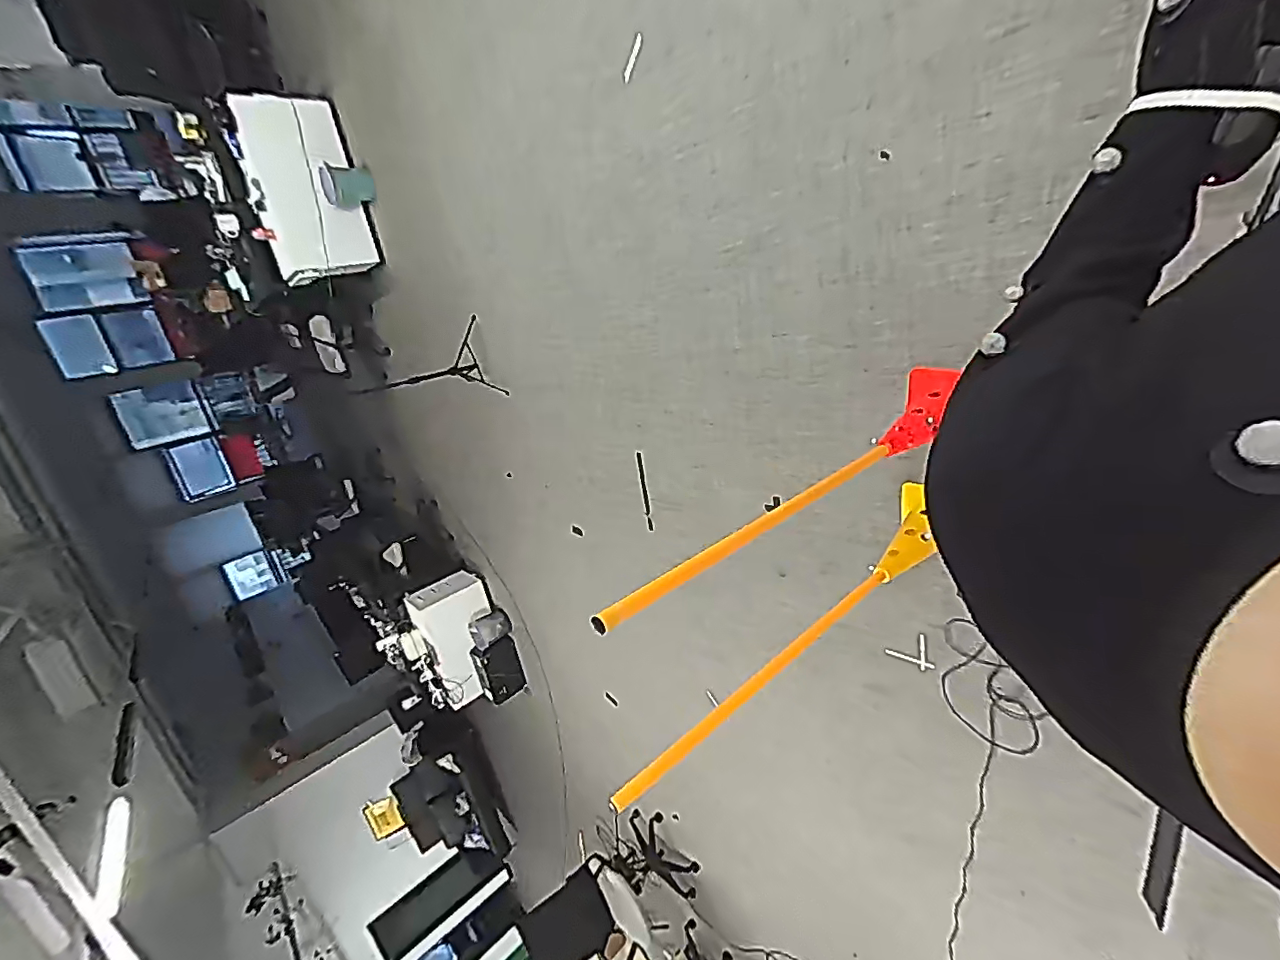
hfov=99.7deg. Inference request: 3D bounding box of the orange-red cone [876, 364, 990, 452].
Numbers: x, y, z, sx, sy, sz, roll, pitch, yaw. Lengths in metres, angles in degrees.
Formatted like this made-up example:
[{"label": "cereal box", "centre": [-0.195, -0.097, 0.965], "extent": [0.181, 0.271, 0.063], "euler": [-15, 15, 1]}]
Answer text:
[{"label": "orange-red cone", "centre": [0.667, -0.140, 1.305], "extent": [0.198, 0.360, 0.199], "euler": [20, 124, 43]}]
